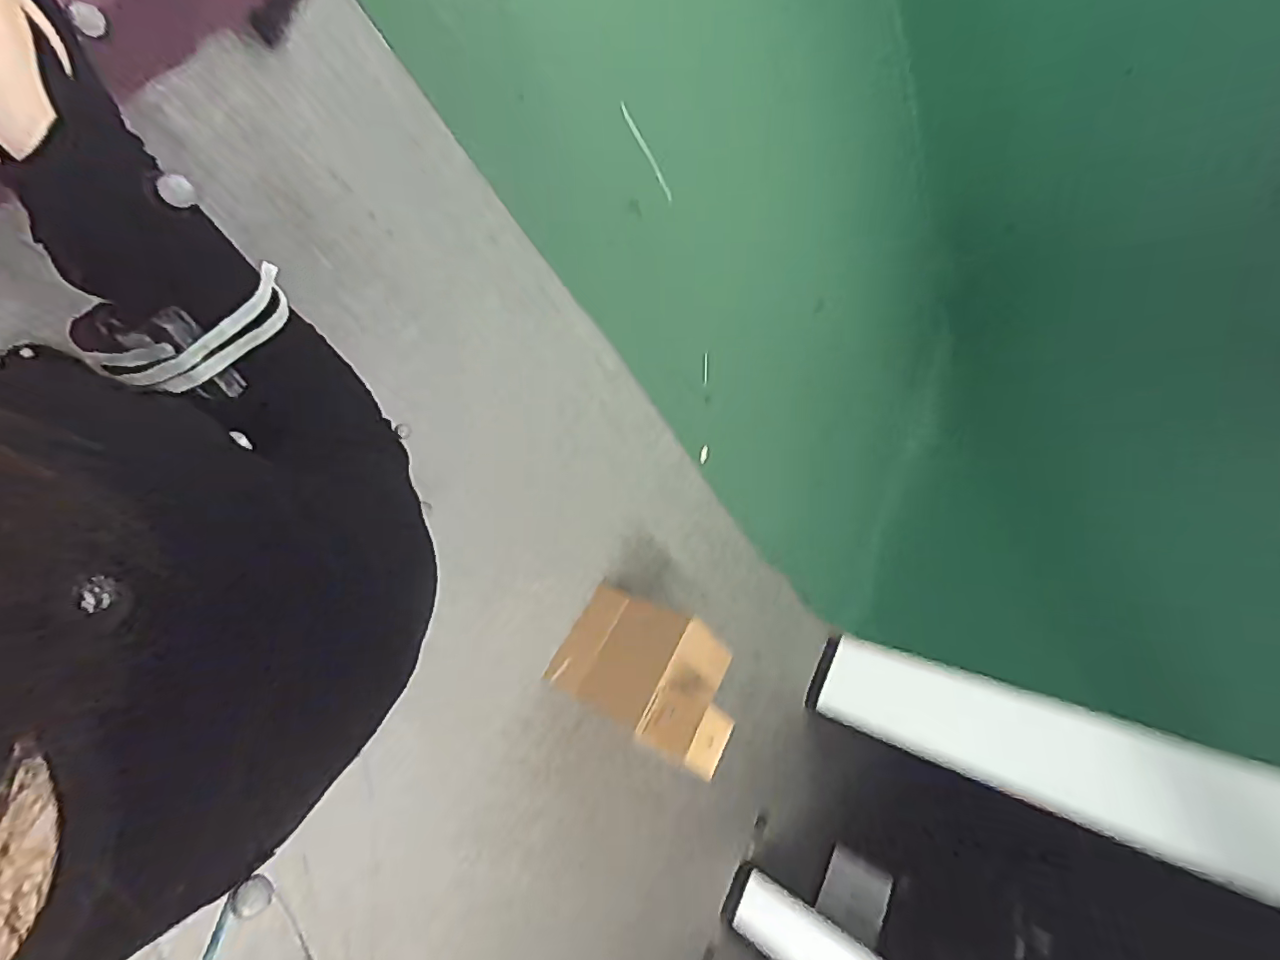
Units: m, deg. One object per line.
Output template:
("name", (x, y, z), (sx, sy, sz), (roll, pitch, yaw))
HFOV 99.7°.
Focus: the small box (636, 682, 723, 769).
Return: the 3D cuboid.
("small box", (0.122, 0.751, 1.668), (0.179, 0.176, 0.168), (51, 61, -37))
